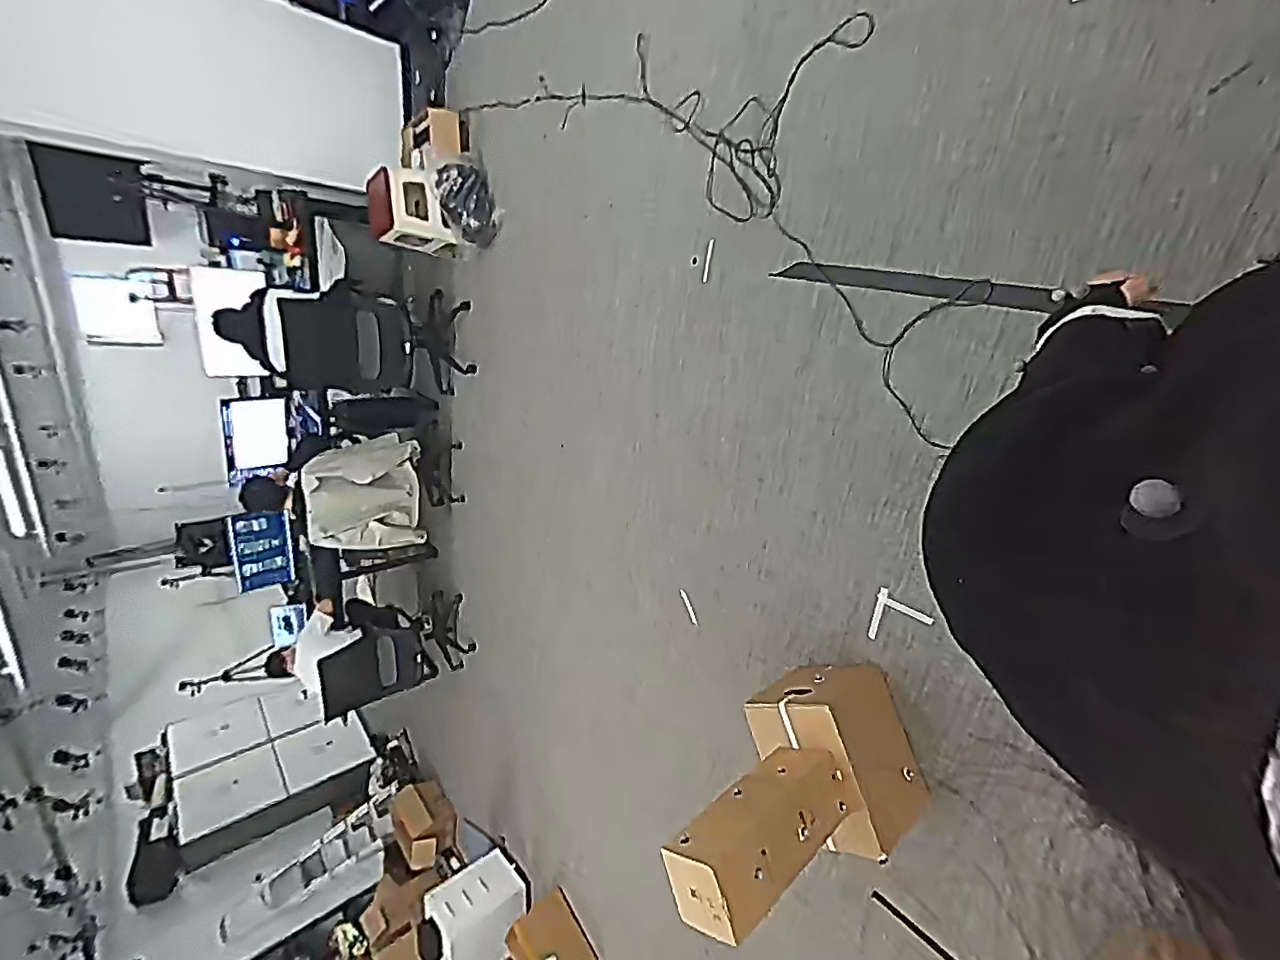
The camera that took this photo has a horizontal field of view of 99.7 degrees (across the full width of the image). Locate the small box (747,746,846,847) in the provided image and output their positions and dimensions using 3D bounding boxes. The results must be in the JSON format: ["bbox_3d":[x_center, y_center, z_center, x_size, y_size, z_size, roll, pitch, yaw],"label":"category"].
[{"bbox_3d":[0.425,0.832,1.442,0.179,0.176,0.168,-27,78,49],"label":"small box"}]

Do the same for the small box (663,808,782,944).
[{"bbox_3d":[0.186,0.878,1.223,0.179,0.176,0.168,-24,82,48],"label":"small box"}]

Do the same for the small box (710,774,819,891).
[{"bbox_3d":[0.307,0.852,1.332,0.179,0.176,0.168,-23,82,47],"label":"small box"}]
